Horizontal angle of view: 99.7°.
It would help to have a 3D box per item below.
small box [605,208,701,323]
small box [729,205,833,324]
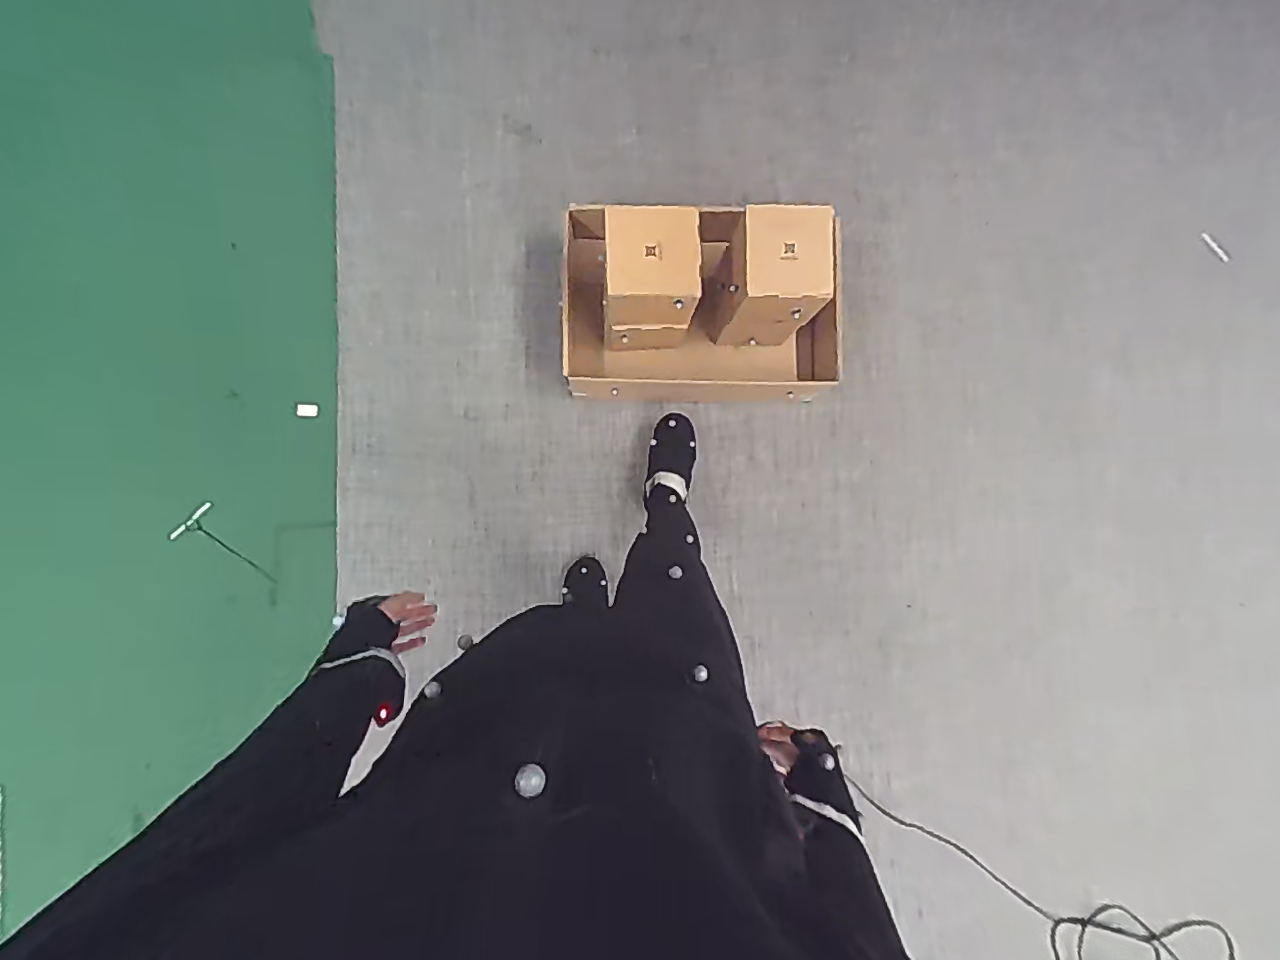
[{"bbox_3d":[0.021,-0.419,1.080,0.179,0.176,0.168,-2,88,-3],"label":"small box"},{"bbox_3d":[0.277,-0.424,1.089,0.168,0.176,0.179,1,88,-2],"label":"small box"}]
